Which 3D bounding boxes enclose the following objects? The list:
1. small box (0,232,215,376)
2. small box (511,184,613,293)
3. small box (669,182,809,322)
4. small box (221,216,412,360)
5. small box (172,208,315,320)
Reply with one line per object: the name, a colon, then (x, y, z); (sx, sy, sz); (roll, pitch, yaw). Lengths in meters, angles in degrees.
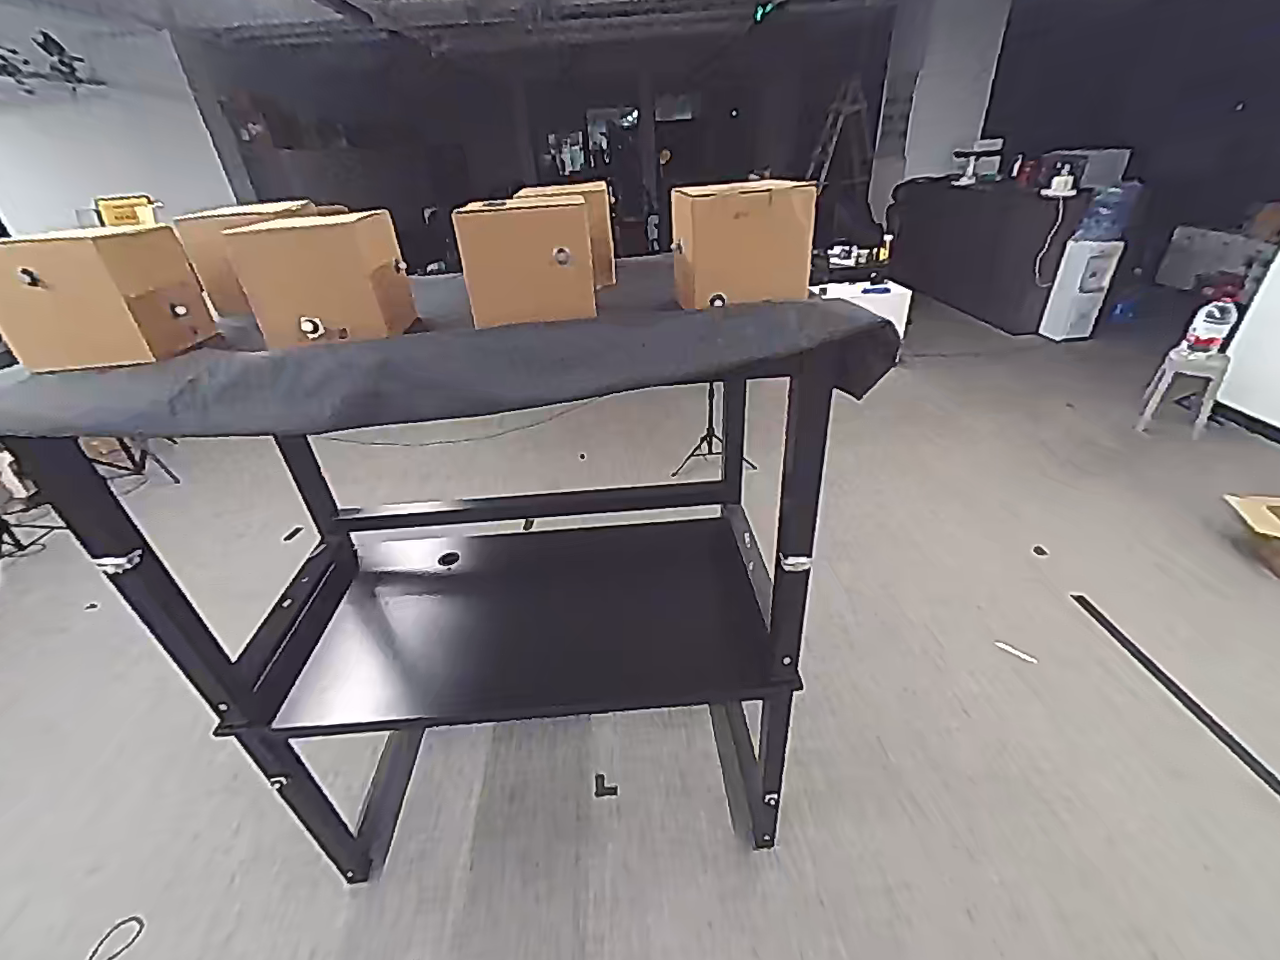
small box: (-0.786, -0.258, 0.789); (0.179, 0.176, 0.168); (-6, 31, -5)
small box: (-0.144, -0.470, 1.058); (0.168, 0.176, 0.179); (-6, 32, -2)
small box: (0.140, -0.338, 0.807); (0.168, 0.176, 0.179); (-7, 31, -3)
small box: (-0.455, -0.286, 0.799); (0.168, 0.176, 0.179); (-8, 31, -4)
small box: (-0.718, -0.415, 1.037); (0.179, 0.176, 0.168); (-5, 32, -3)
